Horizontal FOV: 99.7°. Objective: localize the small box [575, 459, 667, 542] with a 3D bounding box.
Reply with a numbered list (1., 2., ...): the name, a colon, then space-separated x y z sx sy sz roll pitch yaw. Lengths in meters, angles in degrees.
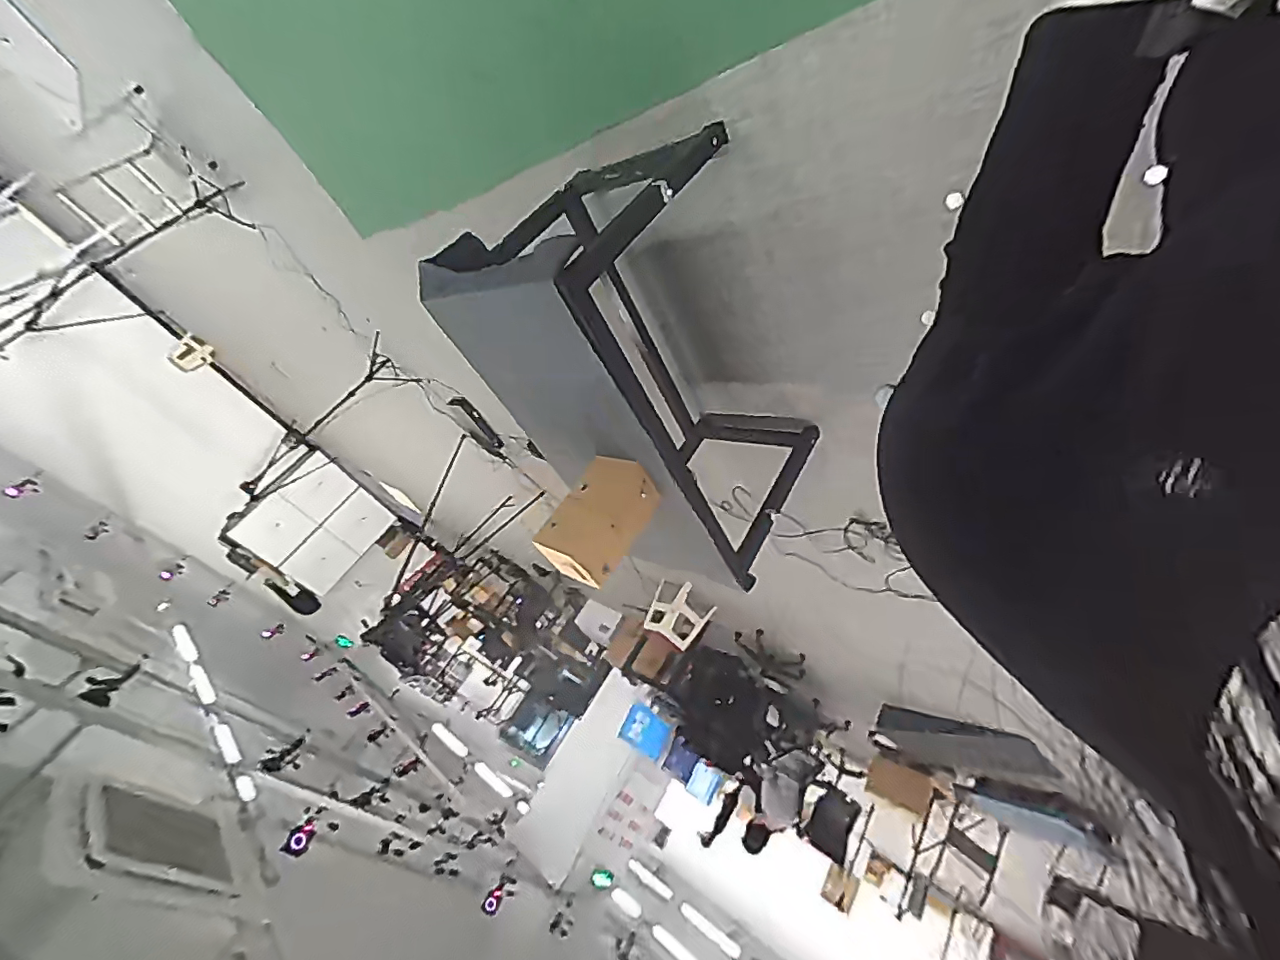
1. small box: -0.051 0.055 1.590 0.179 0.176 0.168 9 146 44
